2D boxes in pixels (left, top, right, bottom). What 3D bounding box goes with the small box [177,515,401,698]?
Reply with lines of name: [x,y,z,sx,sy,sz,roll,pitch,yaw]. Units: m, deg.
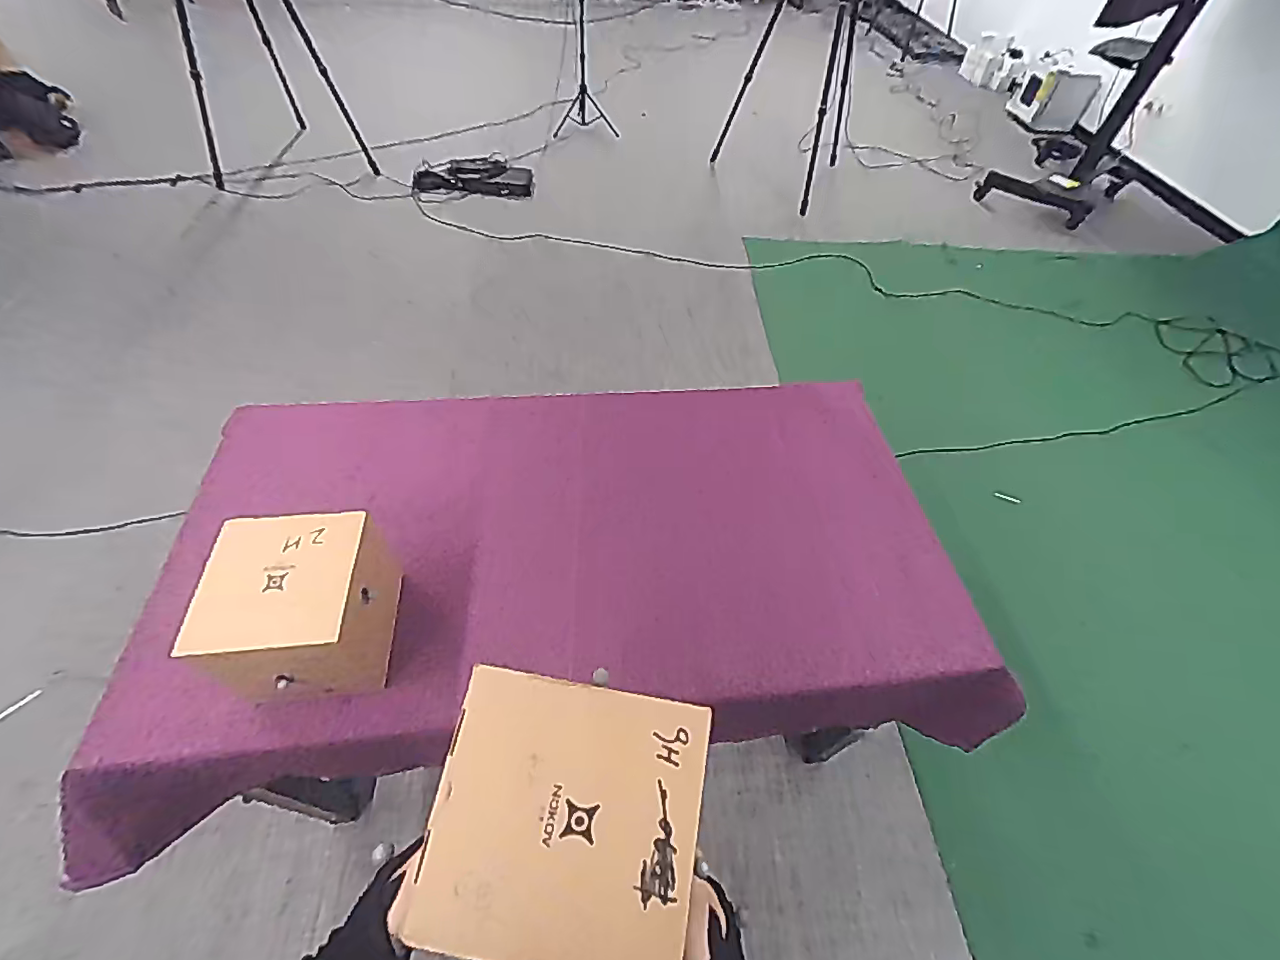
small box: [-0.418,0.166,0.686,0.168,0.176,0.179,-3,52,-7]

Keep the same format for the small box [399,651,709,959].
small box: [-0.052,0.245,0.434,0.179,0.176,0.168,11,68,3]
